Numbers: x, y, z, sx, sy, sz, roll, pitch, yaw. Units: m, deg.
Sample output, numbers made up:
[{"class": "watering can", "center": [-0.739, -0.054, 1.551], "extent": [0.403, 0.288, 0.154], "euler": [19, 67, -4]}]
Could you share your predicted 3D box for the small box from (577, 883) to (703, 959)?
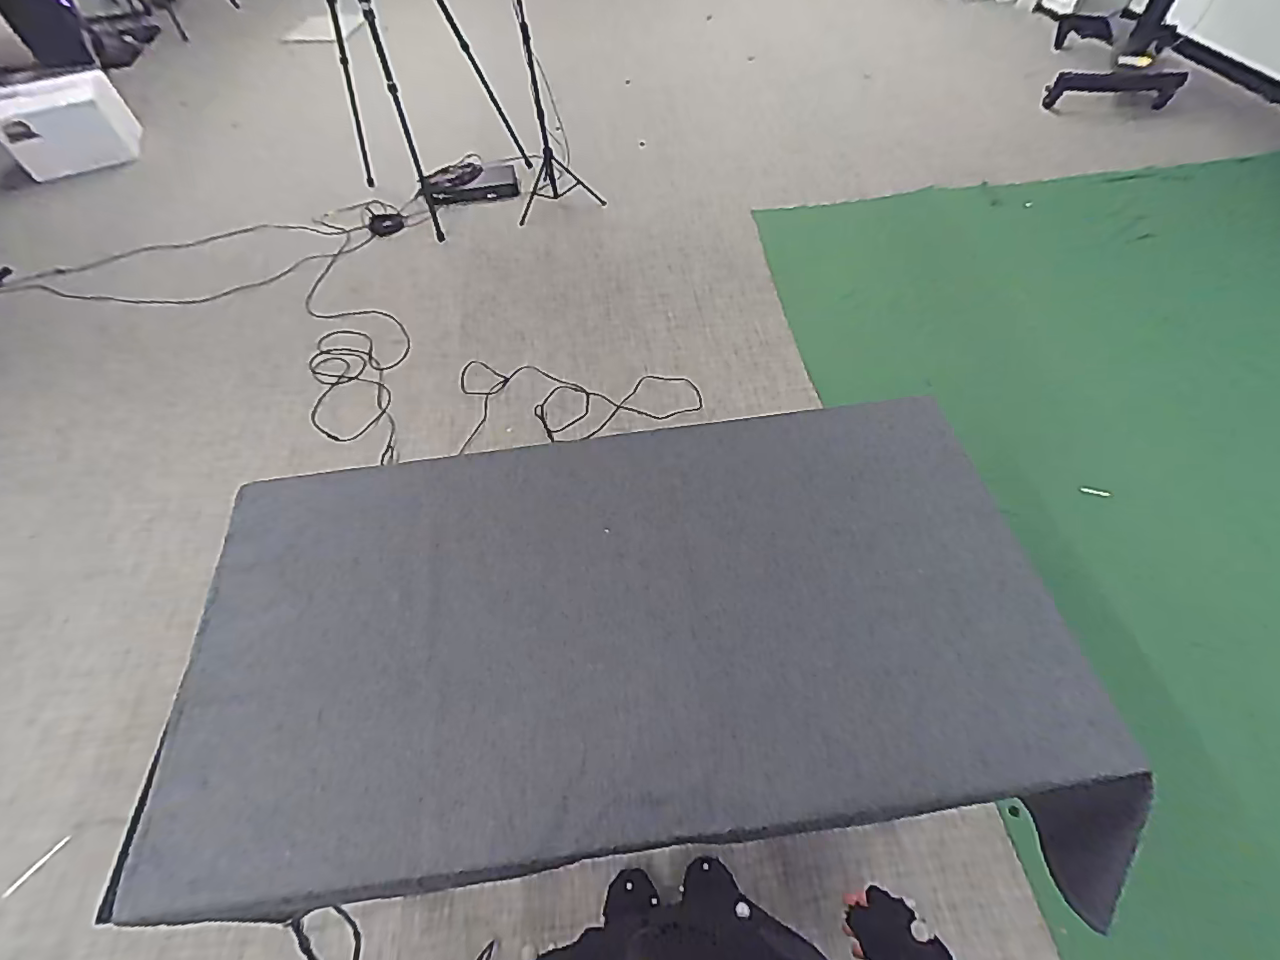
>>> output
[{"class": "small box", "center": [-0.006, 0.932, 1.057], "extent": [0.179, 0.176, 0.168], "euler": [15, 68, 34]}]
